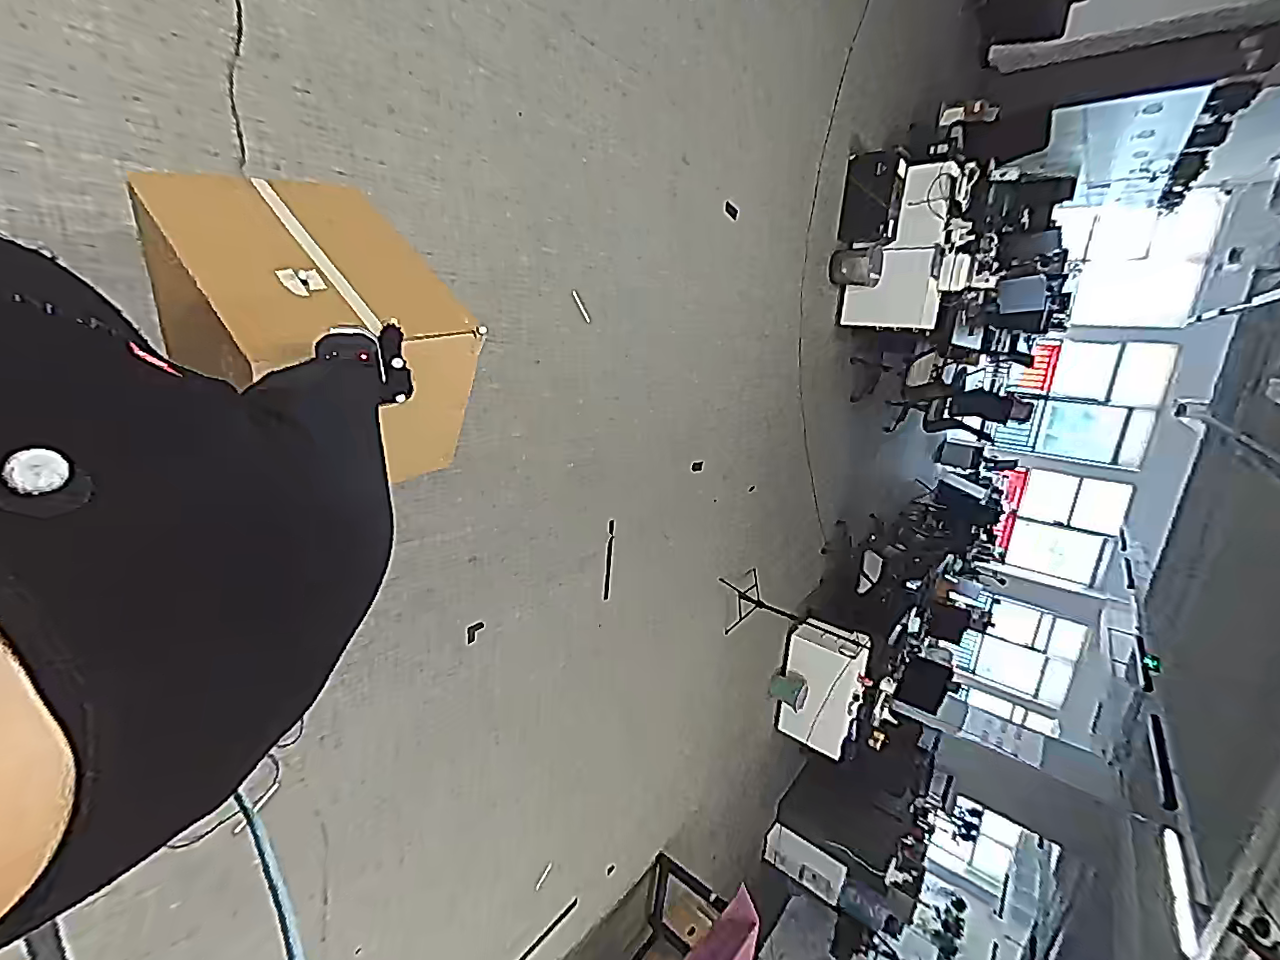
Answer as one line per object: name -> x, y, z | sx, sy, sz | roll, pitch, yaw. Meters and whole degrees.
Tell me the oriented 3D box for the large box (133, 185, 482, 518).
large box -> -0.534, -0.216, 0.891 | 0.320, 0.408, 0.320 | -27, 158, -44
